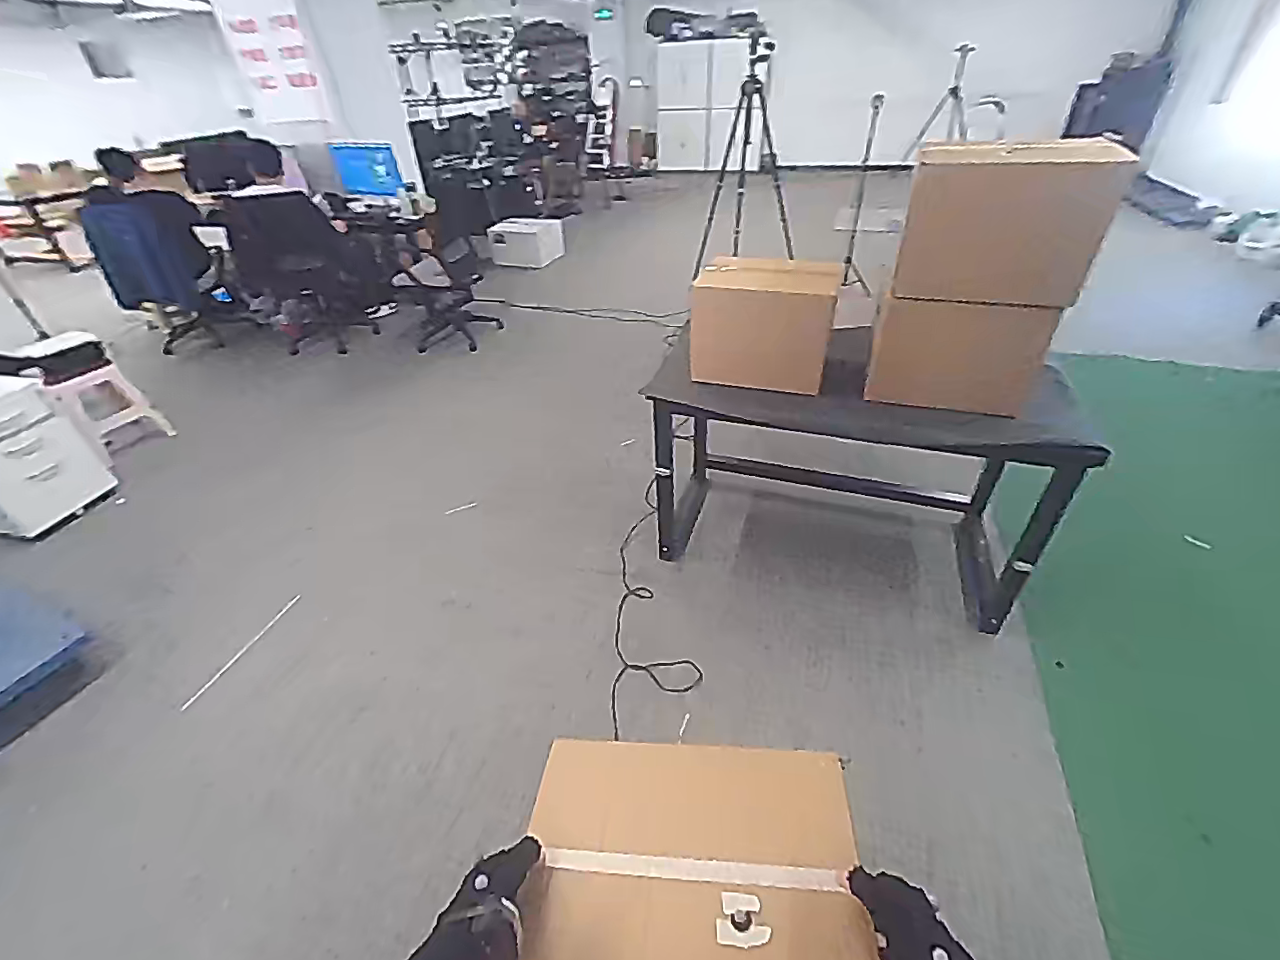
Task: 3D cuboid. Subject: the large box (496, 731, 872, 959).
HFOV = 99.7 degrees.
[{"bbox_3d":[0.065,0.578,0.730,0.408,0.320,0.320,-1,33,9],"label":"large box"}]
